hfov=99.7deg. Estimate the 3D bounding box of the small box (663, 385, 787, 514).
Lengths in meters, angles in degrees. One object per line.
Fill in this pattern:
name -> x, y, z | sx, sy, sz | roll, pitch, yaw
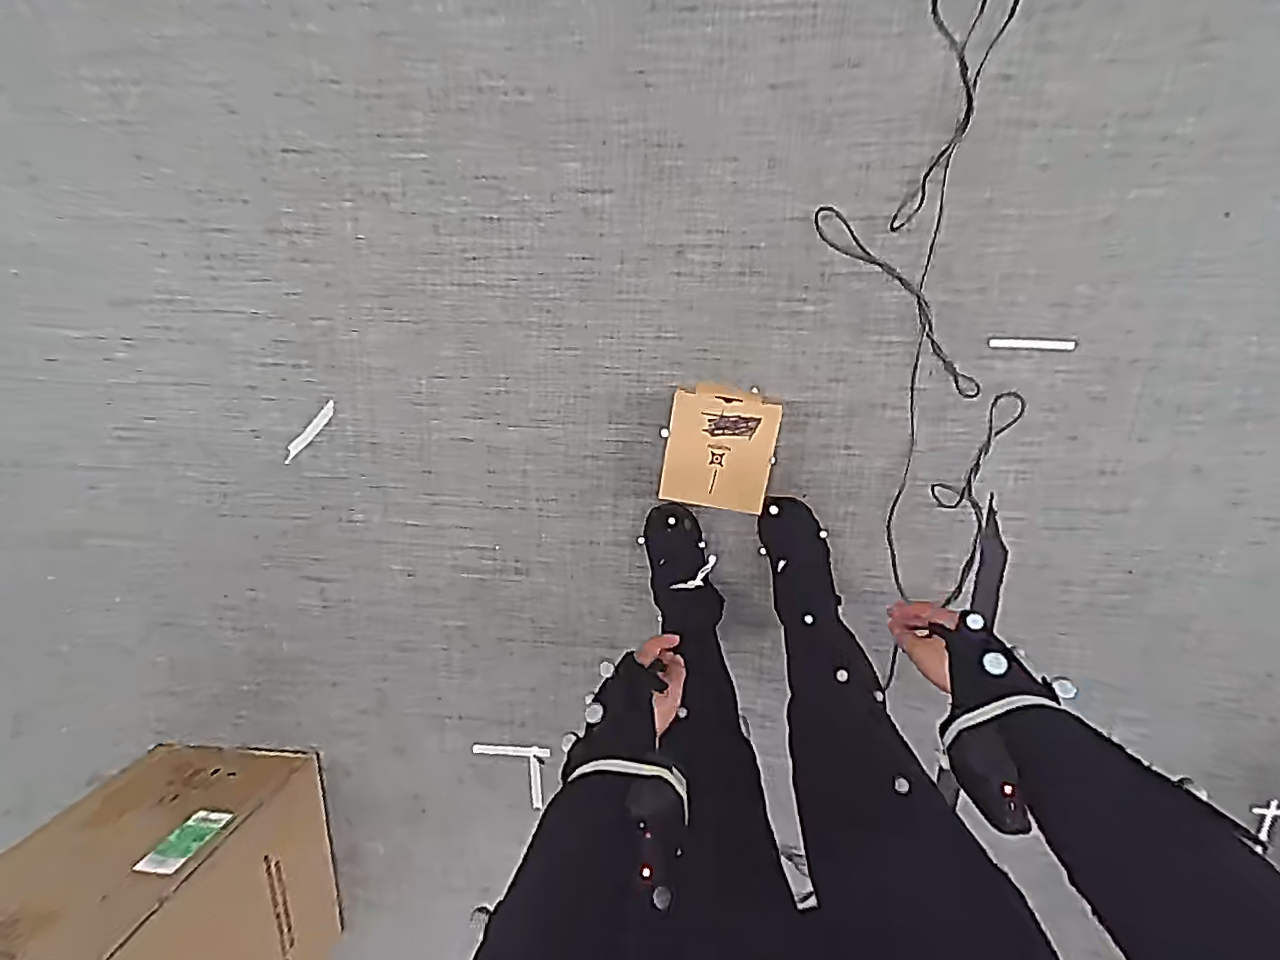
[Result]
small box -> 0.136, -0.061, 0.911 | 0.168, 0.176, 0.179 | 10, 104, 4
